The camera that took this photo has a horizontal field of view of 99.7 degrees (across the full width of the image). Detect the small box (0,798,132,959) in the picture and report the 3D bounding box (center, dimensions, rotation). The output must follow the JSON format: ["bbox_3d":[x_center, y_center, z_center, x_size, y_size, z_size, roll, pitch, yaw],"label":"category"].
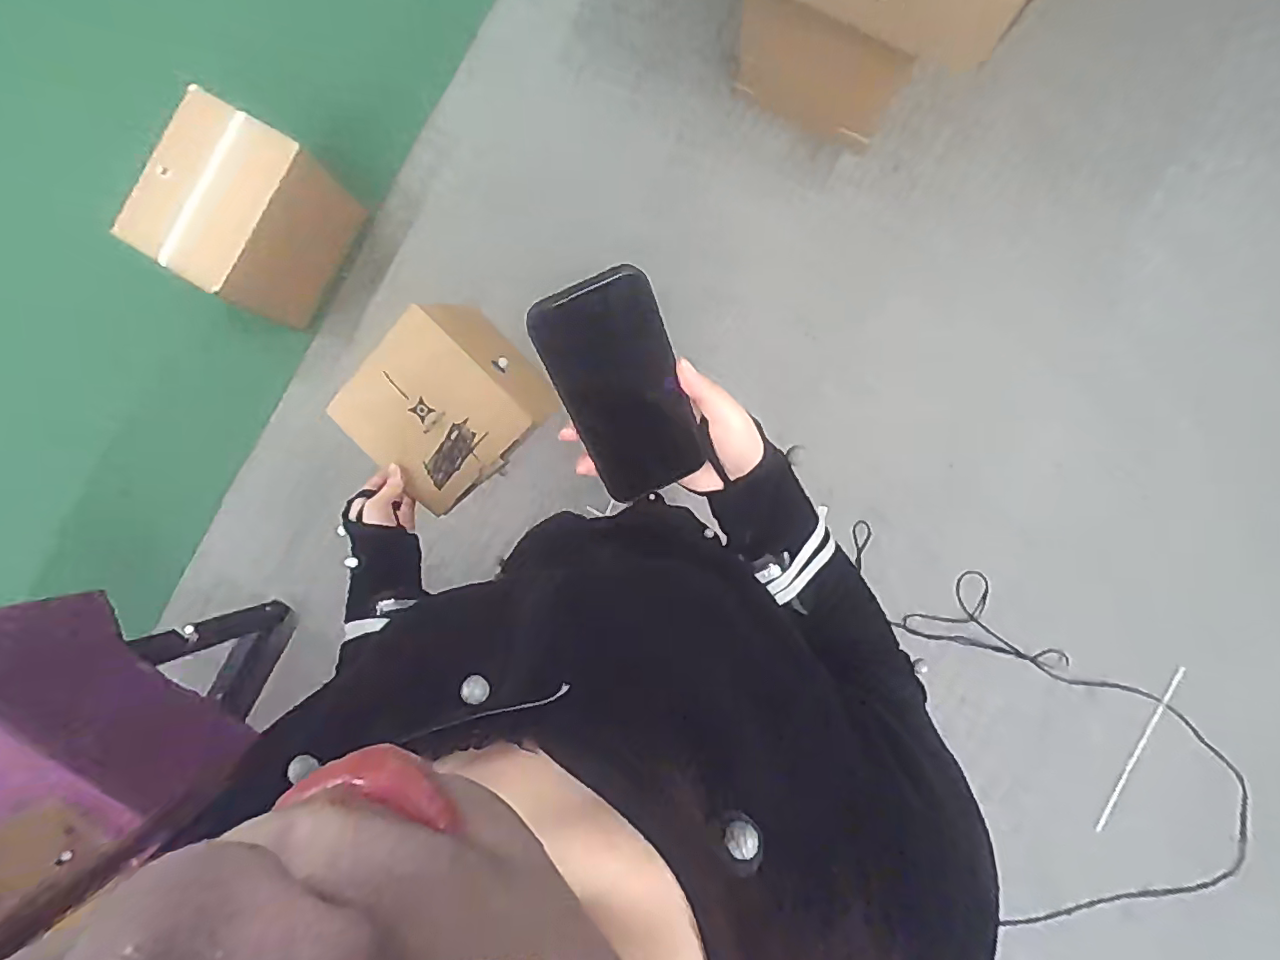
[{"bbox_3d":[-0.863,0.587,0.732,0.168,0.176,0.179,34,91,4],"label":"small box"}]

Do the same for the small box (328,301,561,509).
[{"bbox_3d":[-0.222,-0.100,0.666,0.168,0.176,0.179,-42,99,15],"label":"small box"}]
